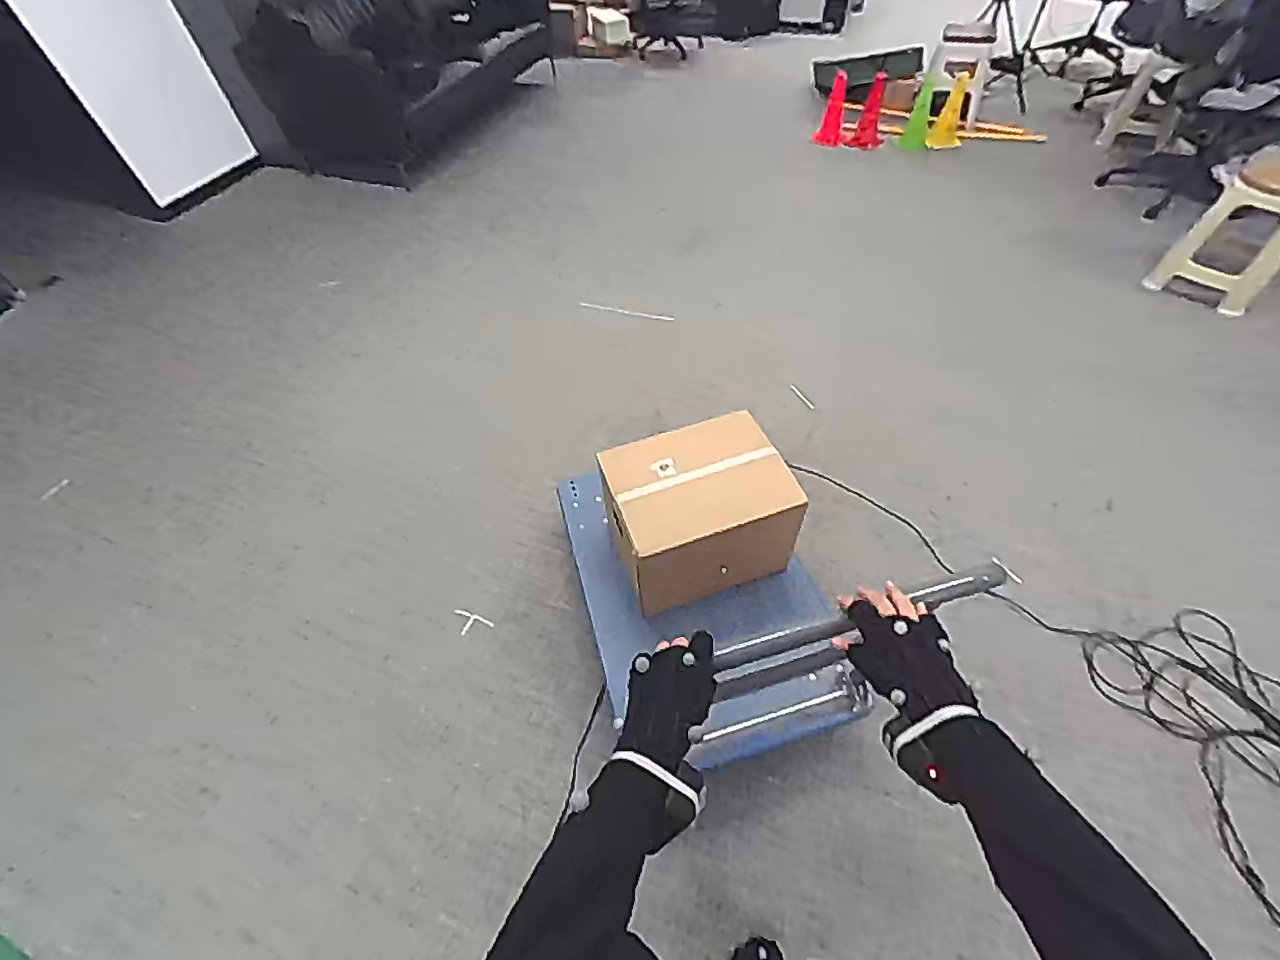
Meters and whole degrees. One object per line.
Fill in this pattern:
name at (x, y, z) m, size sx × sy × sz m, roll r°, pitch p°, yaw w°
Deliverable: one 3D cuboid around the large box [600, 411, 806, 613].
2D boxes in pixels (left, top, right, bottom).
large box at (0.147, 0.084, 1.376) m, size 0.408 × 0.320 × 0.320 m, roll -18°, pitch 53°, yaw -9°
